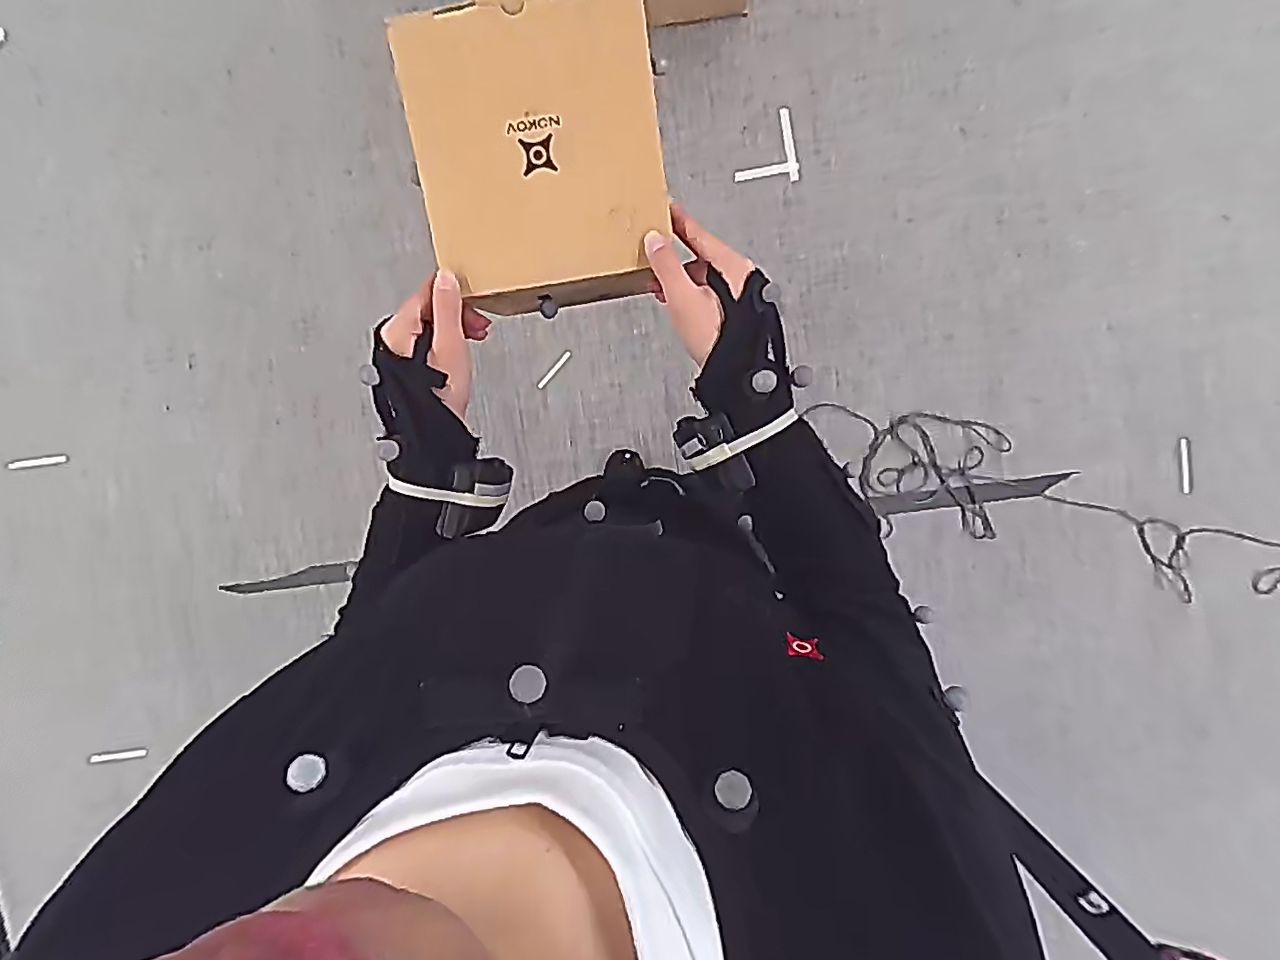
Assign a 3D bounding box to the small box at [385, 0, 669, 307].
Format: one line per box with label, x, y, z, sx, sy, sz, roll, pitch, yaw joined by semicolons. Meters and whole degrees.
small box;-0.069;-0.242;0.434;0.168;0.176;0.179;-9;101;2
